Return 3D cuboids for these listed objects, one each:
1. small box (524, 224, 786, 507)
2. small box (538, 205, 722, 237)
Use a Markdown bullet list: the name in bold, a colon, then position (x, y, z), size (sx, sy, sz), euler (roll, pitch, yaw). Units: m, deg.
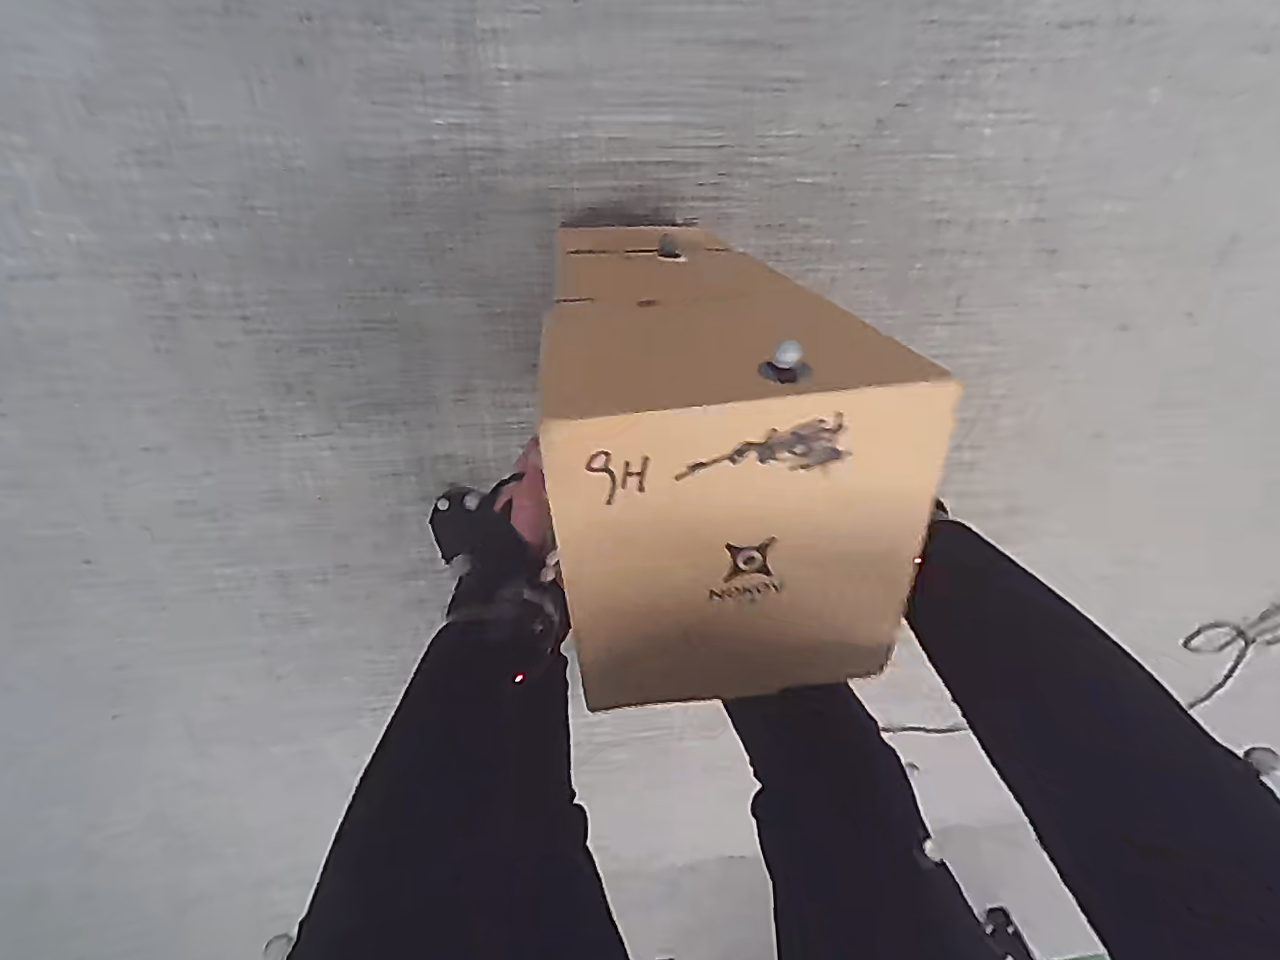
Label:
- **small box**: position (0.001, -0.100, 0.442), size (0.168, 0.176, 0.179), euler (-5, 123, -7)
- **small box**: position (-0.020, -0.188, 0.575), size (0.168, 0.176, 0.179), euler (-3, 124, -6)
